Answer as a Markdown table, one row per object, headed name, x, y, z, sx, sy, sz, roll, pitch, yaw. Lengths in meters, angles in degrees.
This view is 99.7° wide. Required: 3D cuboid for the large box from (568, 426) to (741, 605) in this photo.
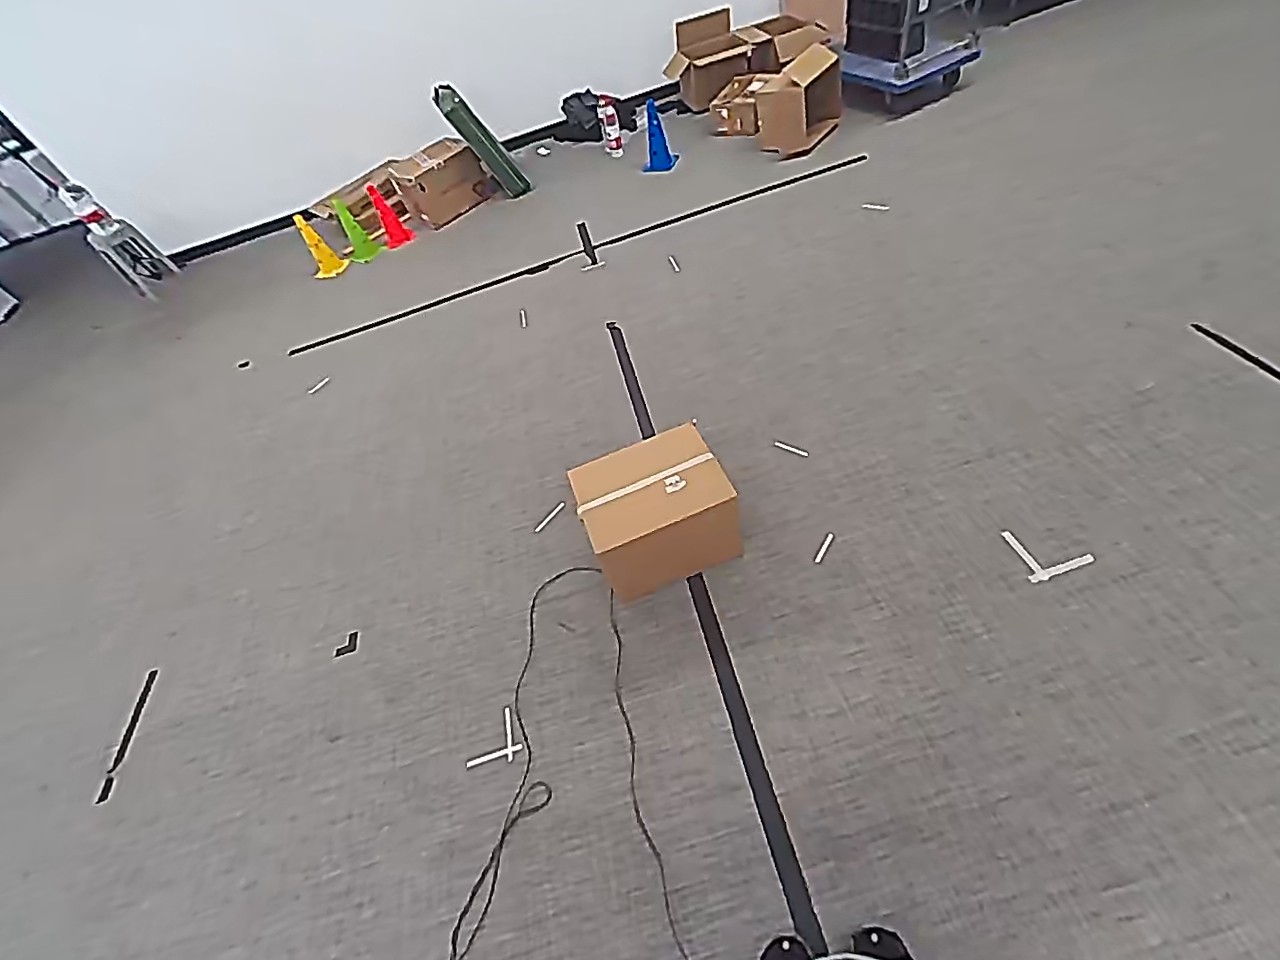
| name | x | y | z | sx | sy | sz | roll | pitch | yaw |
| --- | --- | --- | --- | --- | --- | --- | --- | --- | --- |
| large box | 0.048 | 0.109 | 1.611 | 0.408 | 0.320 | 0.320 | -22 | 51 | -4 |
